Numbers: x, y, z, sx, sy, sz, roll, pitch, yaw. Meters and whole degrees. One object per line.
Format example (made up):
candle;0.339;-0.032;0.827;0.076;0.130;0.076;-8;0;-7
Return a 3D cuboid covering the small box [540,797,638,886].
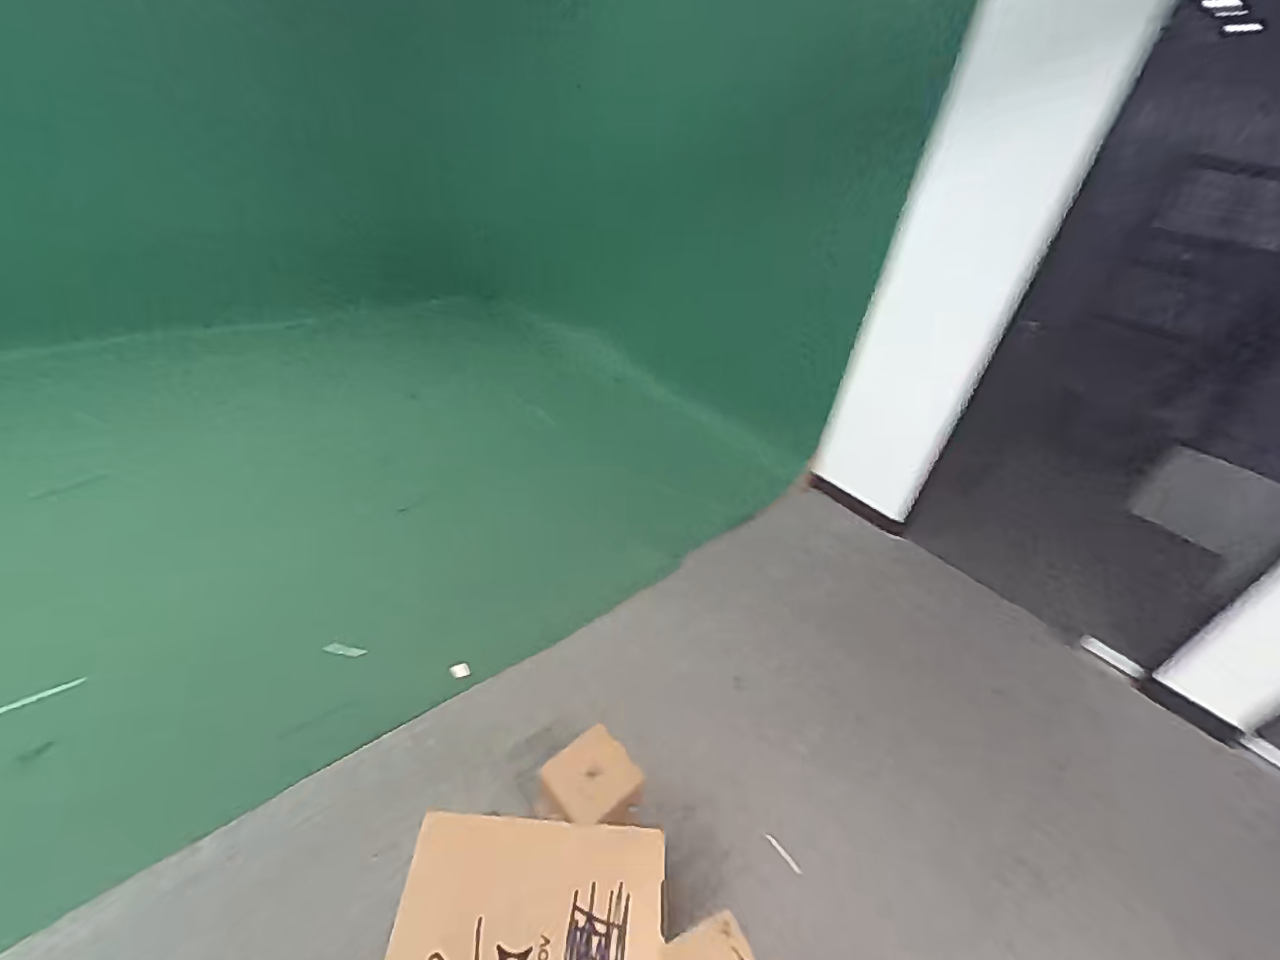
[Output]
small box;-0.130;0.824;1.309;0.179;0.176;0.168;-26;48;-37

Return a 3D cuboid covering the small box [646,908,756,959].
small box;0.117;0.916;0.956;0.179;0.176;0.168;-12;40;-23

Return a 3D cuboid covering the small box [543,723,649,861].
small box;-0.105;0.696;1.213;0.179;0.176;0.168;-25;47;-36
